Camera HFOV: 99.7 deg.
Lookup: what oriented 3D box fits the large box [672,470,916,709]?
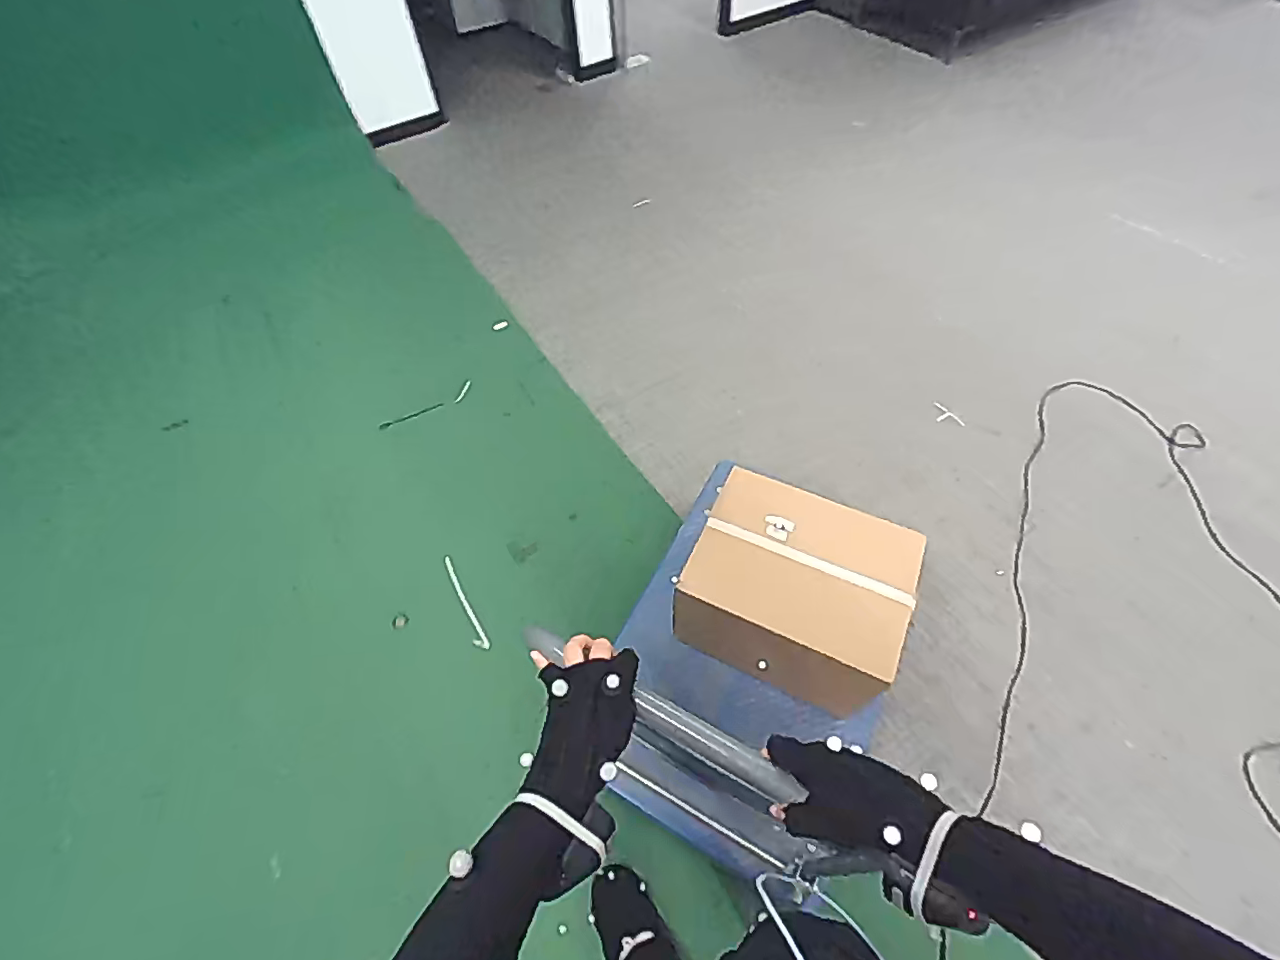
[{"bbox_3d":[0.312,0.240,1.167,0.408,0.320,0.320,21,59,17],"label":"large box"}]
